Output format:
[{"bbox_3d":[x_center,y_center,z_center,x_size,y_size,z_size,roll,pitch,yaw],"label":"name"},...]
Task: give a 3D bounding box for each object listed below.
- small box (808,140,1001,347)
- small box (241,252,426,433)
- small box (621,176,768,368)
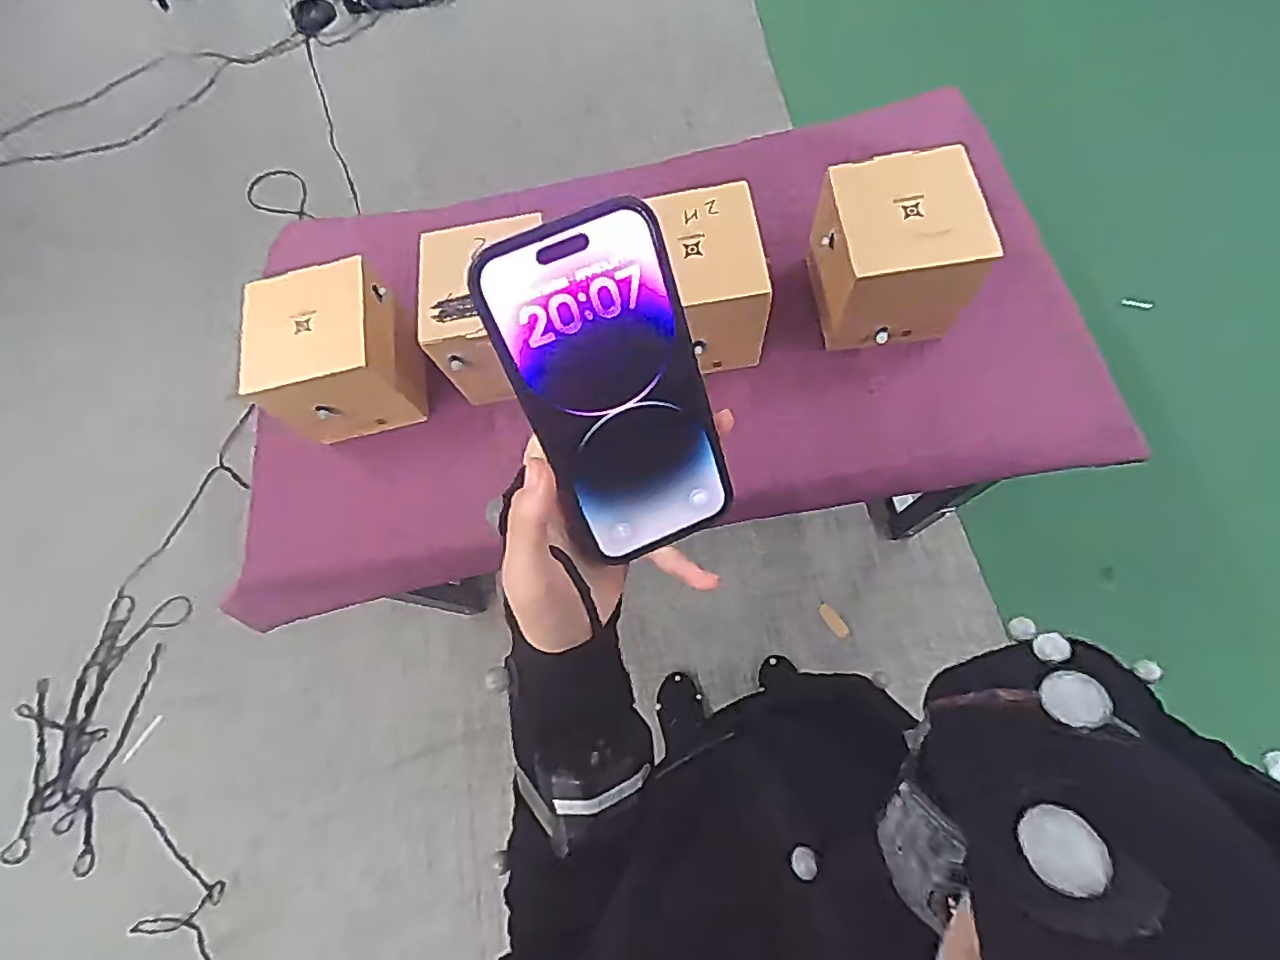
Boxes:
[{"bbox_3d":[0.330,-0.303,0.718,0.168,0.176,0.179,-6,71,6],"label":"small box"},{"bbox_3d":[-0.420,-0.180,0.766,0.168,0.176,0.179,-13,70,2],"label":"small box"},{"bbox_3d":[0.072,-0.267,0.735,0.168,0.176,0.179,-7,70,4],"label":"small box"}]
